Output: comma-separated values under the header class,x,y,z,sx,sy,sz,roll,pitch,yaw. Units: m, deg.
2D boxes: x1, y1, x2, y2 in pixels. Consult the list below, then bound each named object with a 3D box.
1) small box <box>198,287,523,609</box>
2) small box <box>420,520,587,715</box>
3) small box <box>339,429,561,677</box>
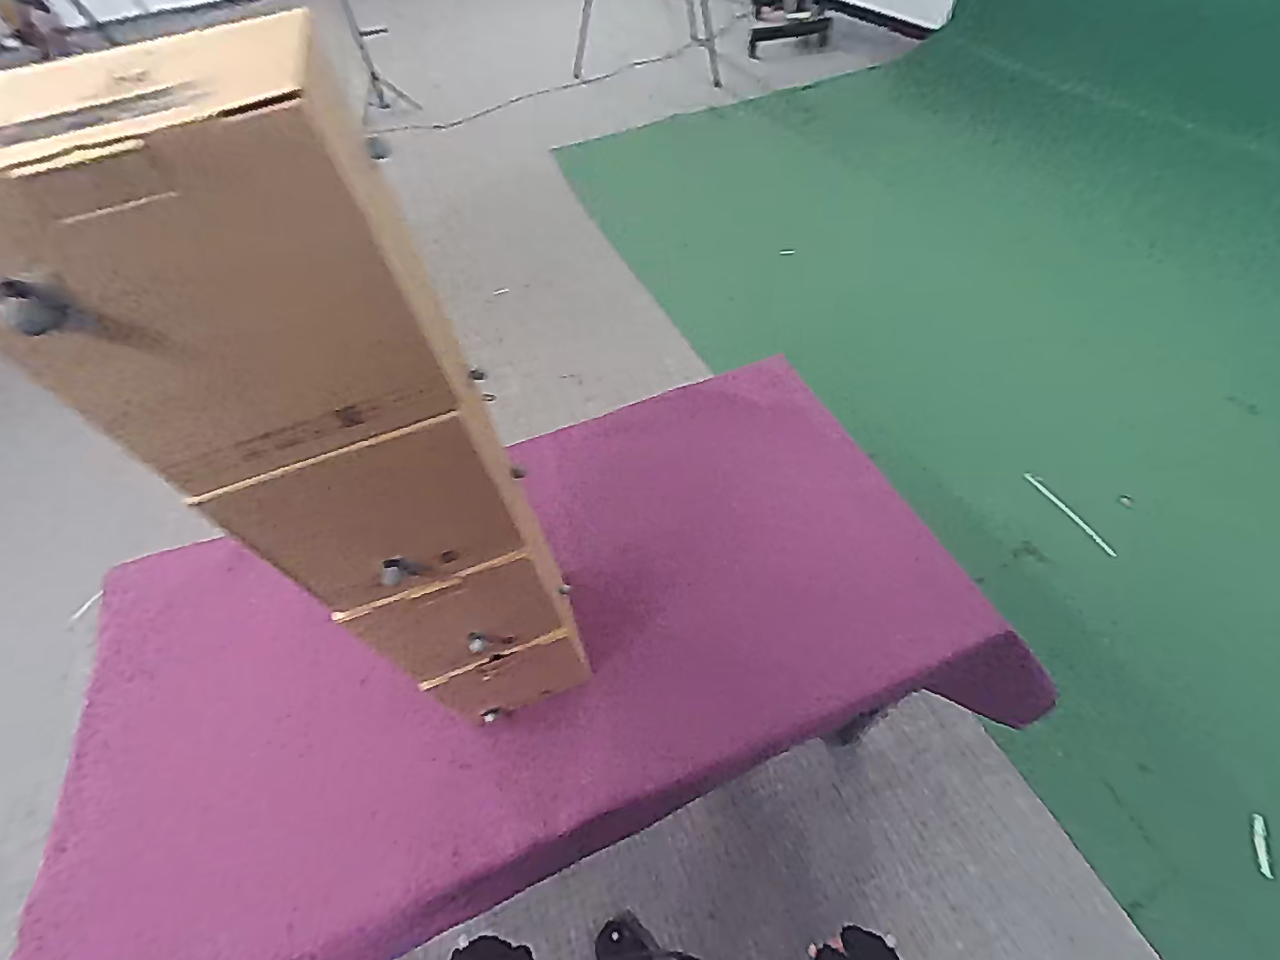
class,x,y,z,sx,sy,sz,roll,pitch,yaw
small box,-0.210,-0.024,0.449,0.168,0.176,0.179,-20,53,-8
small box,-0.177,0.183,0.700,0.168,0.176,0.179,-19,52,-8
small box,-0.195,0.078,0.575,0.168,0.176,0.179,-19,53,-8
